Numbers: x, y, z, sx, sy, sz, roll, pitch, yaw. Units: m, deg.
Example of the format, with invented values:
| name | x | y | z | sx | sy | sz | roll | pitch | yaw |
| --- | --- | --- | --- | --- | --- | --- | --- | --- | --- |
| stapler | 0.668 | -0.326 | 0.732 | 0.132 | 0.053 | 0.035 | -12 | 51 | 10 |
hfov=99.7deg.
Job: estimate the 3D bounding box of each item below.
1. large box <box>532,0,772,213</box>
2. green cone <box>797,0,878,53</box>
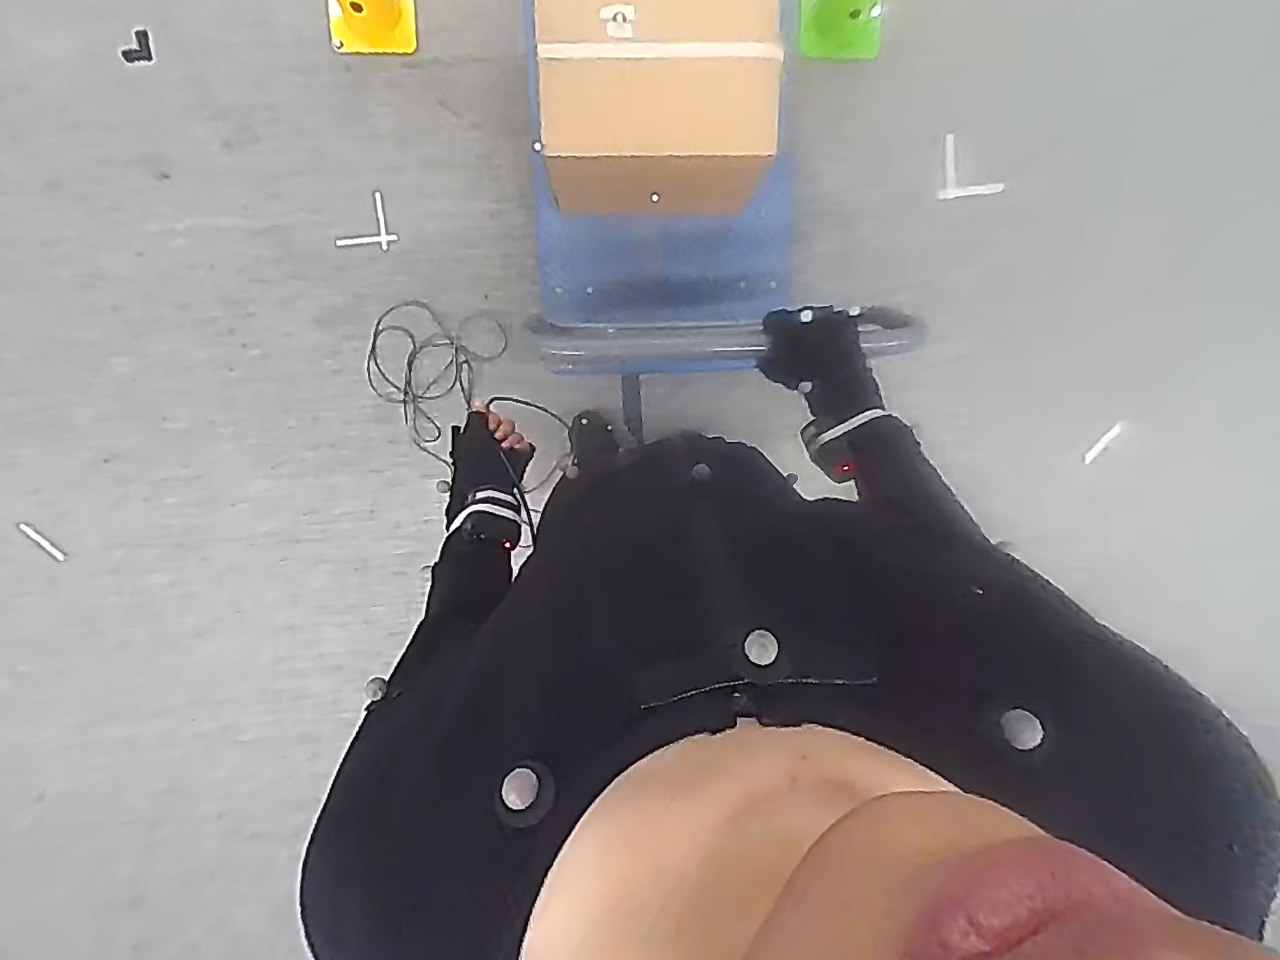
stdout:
| name | x | y | z | sx | sy | sz | roll | pitch | yaw |
| --- | --- | --- | --- | --- | --- | --- | --- | --- | --- |
| large box | 0.021 | -0.730 | 1.049 | 0.408 | 0.320 | 0.320 | -1 | 99 | -1 |
| green cone | 0.495 | -1.133 | 1.154 | 0.202 | 0.368 | 0.200 | -1 | 98 | -3 |
